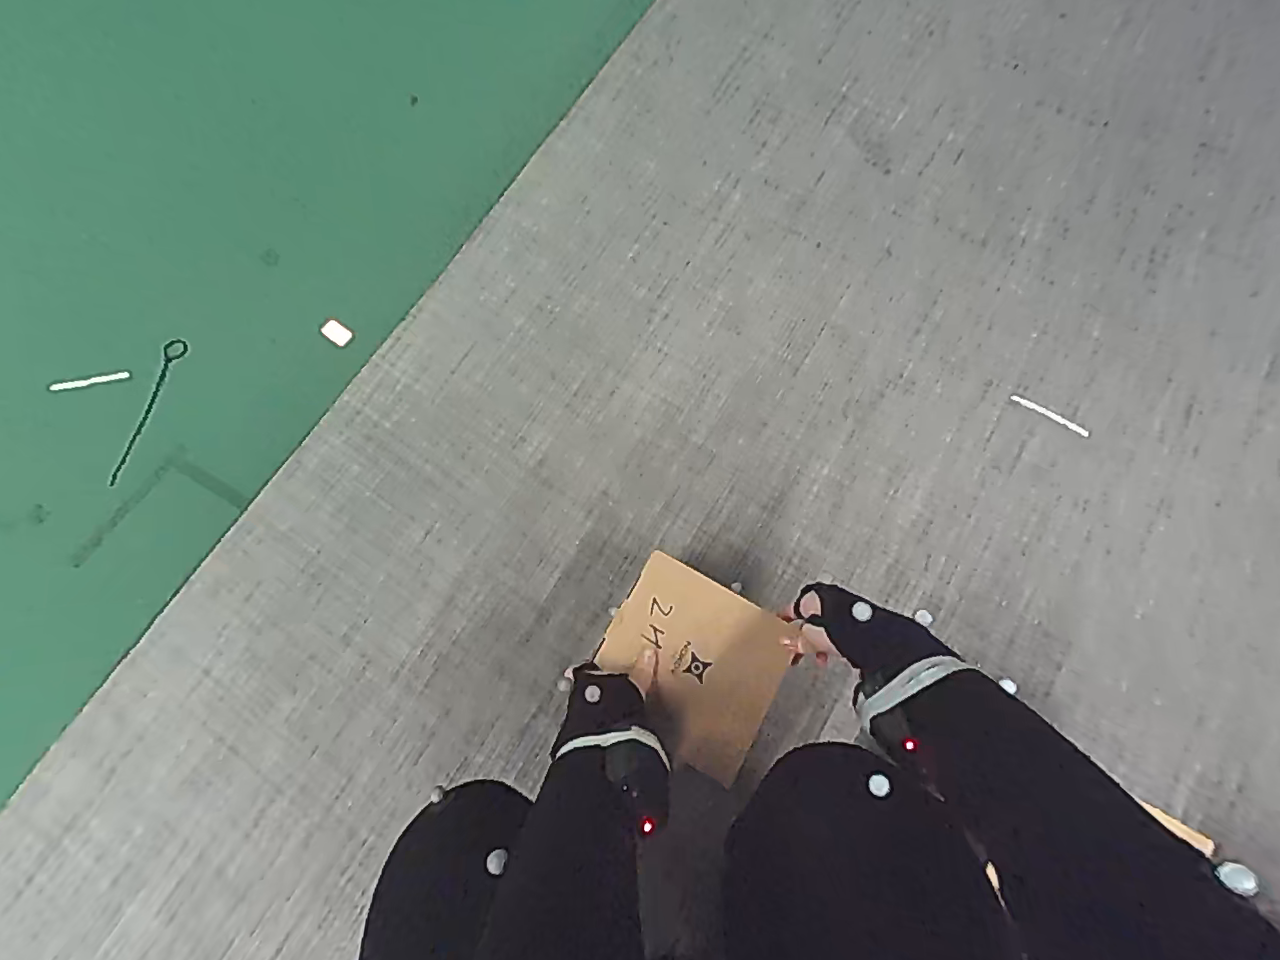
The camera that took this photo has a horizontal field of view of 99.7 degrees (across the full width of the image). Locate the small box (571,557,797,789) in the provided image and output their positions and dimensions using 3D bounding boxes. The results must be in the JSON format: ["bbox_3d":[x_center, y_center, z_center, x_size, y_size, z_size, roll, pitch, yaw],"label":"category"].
[{"bbox_3d":[0.048,0.206,0.621,0.179,0.176,0.168,29,79,9],"label":"small box"}]
